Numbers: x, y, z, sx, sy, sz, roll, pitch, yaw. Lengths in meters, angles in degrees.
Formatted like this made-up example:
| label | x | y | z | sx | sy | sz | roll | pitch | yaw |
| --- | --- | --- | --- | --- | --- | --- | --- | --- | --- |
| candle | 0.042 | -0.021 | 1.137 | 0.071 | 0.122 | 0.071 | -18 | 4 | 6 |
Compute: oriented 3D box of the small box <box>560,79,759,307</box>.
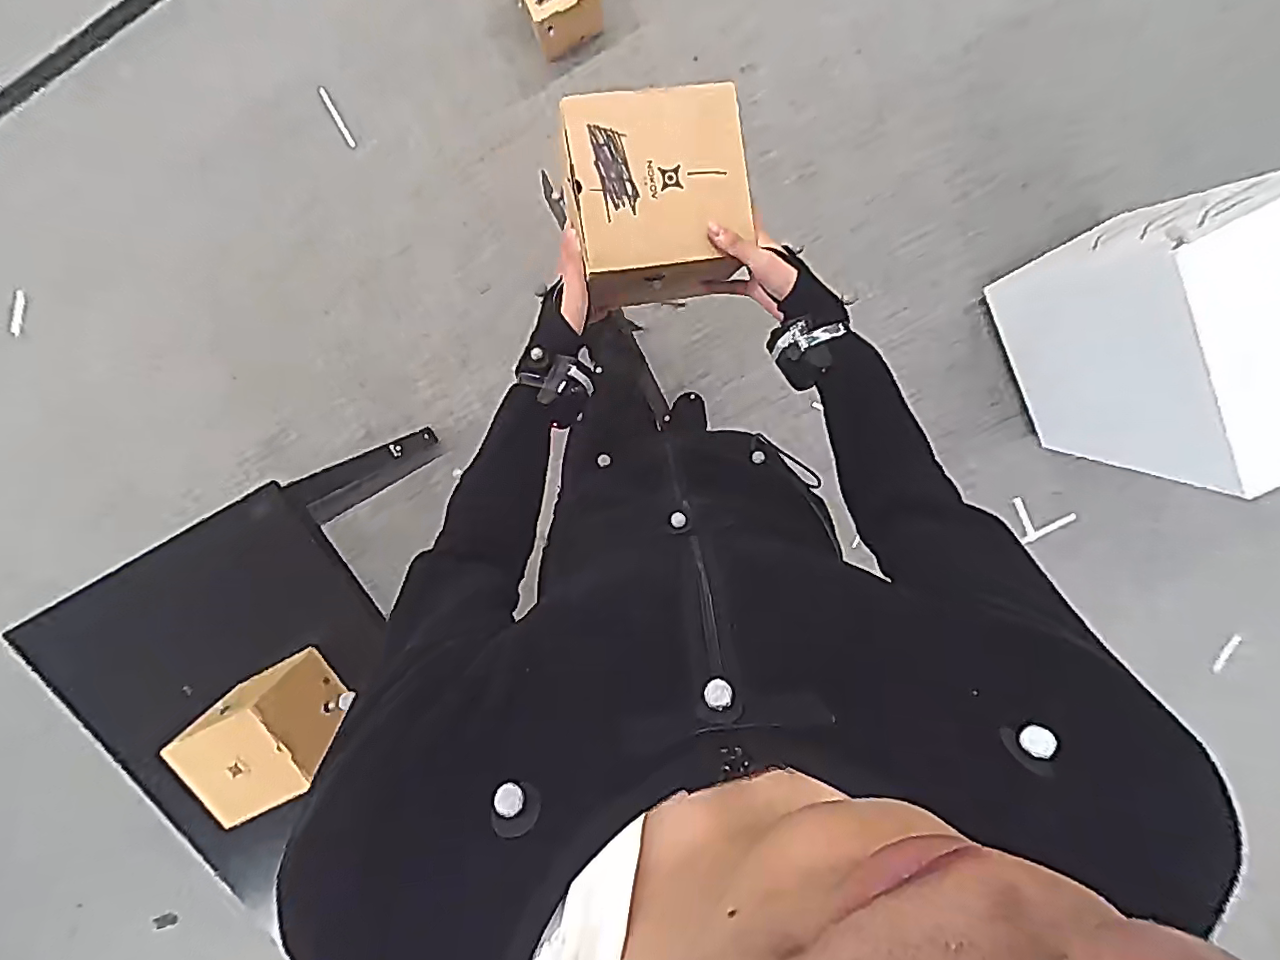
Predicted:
| label | x | y | z | sx | sy | sz | roll | pitch | yaw |
| --- | --- | --- | --- | --- | --- | --- | --- | --- | --- |
| small box | 0.011 | -0.299 | 0.598 | 0.179 | 0.176 | 0.168 | -10 | 96 | -8 |

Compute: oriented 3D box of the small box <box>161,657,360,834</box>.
| label | x | y | z | sx | sy | sz | roll | pitch | yaw |
| --- | --- | --- | --- | --- | --- | --- | --- | --- | --- |
| small box | -0.618 | 0.434 | 0.906 | 0.179 | 0.176 | 0.168 | -28 | 102 | 6 |
